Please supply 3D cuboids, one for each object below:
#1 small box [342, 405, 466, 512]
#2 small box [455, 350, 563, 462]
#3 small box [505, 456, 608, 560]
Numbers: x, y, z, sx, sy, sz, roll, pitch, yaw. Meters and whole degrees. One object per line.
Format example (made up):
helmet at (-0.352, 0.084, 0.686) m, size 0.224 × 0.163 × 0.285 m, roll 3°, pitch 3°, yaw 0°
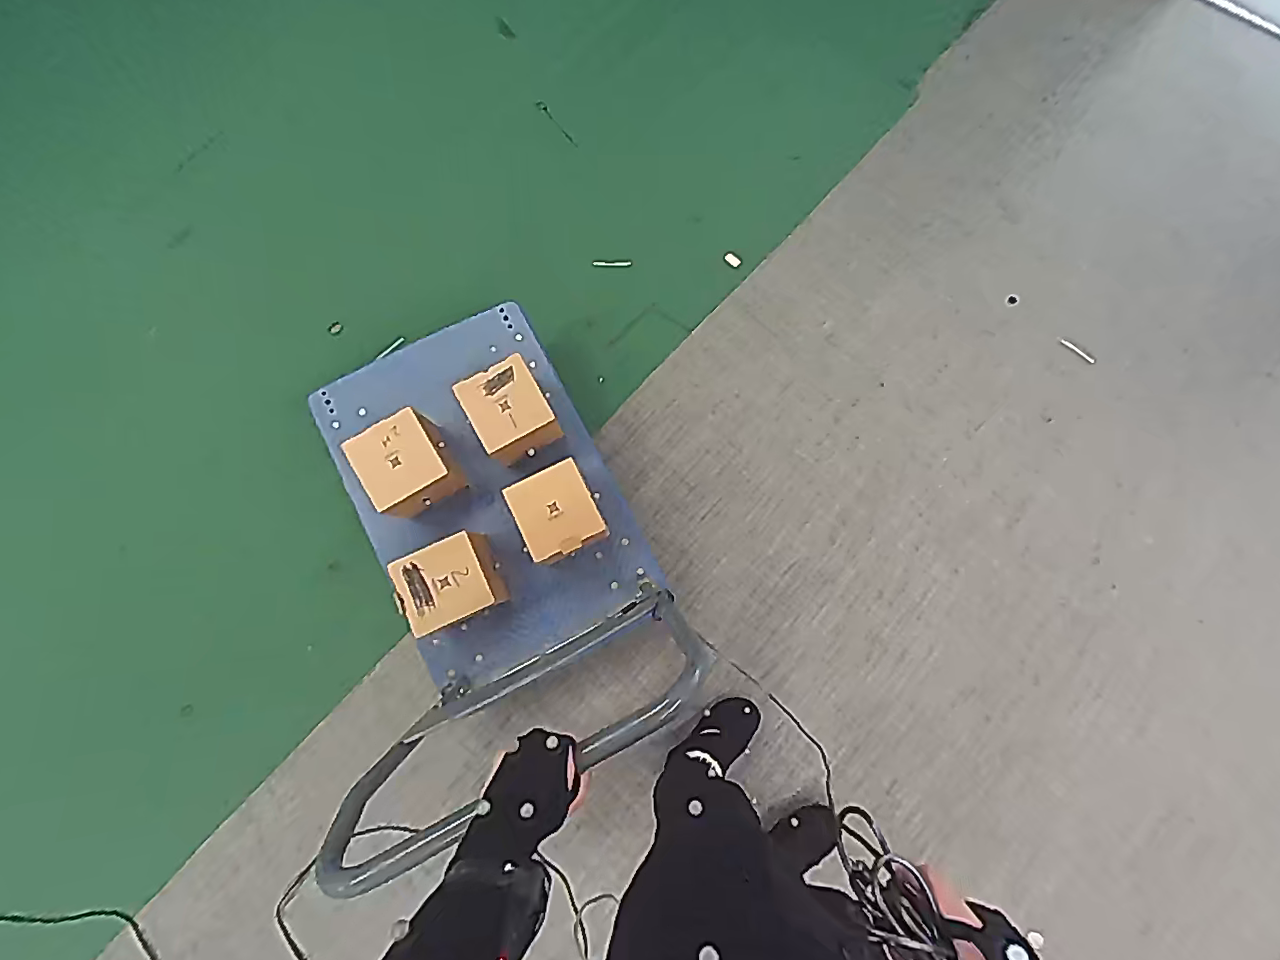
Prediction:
small box at (-0.517, -0.039, 1.212) m, size 0.168 × 0.176 × 0.179 m, roll -31°, pitch 84°, yaw -7°
small box at (-0.292, -0.161, 1.237) m, size 0.168 × 0.176 × 0.179 m, roll -29°, pitch 84°, yaw -5°
small box at (-0.180, 0.069, 1.209) m, size 0.168 × 0.176 × 0.179 m, roll -26°, pitch 84°, yaw -5°
